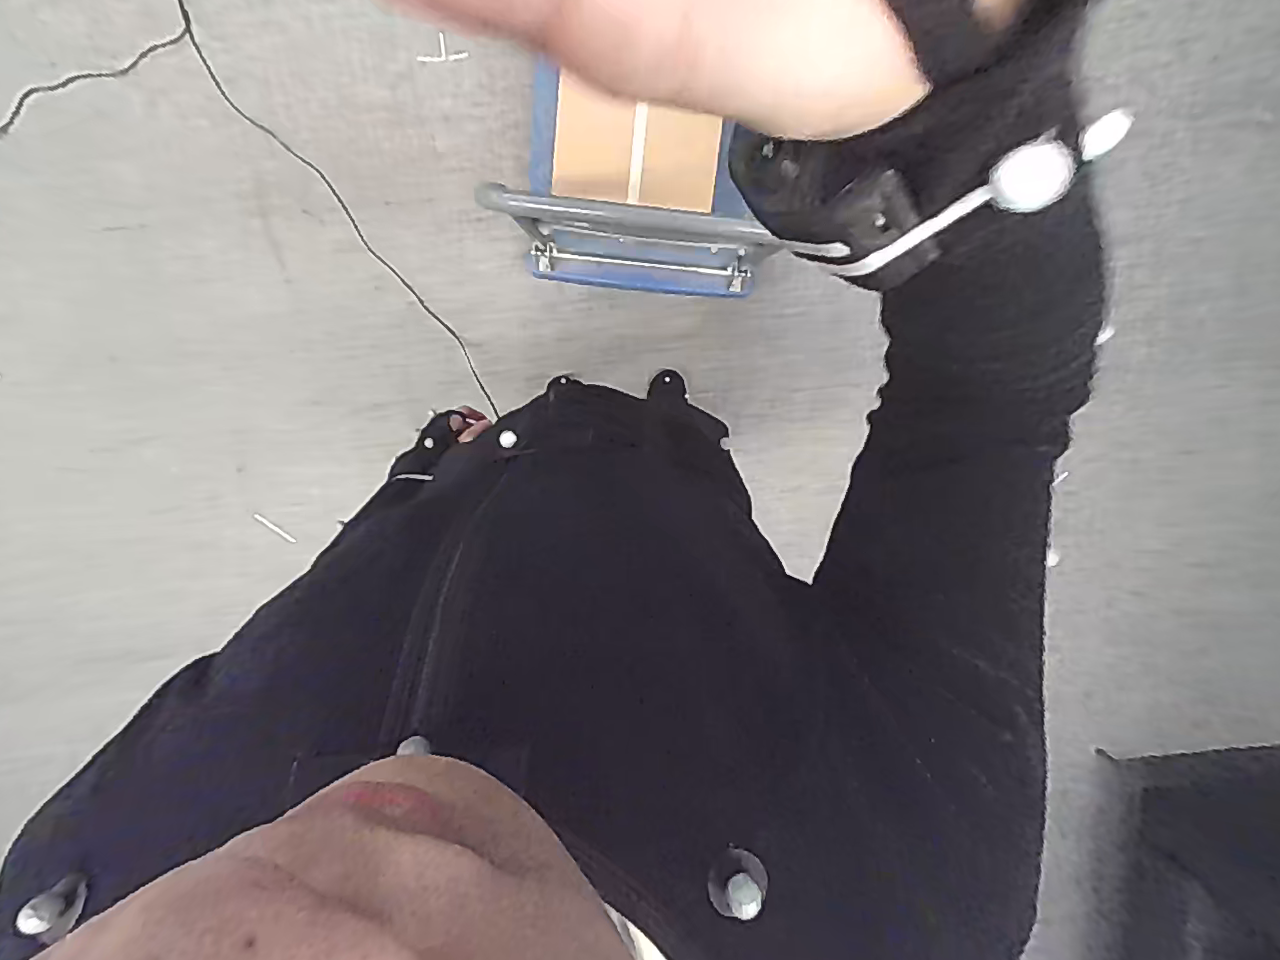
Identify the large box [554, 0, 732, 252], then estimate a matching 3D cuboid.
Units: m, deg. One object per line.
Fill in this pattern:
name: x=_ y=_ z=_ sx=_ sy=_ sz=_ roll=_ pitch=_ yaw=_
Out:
large box: x=0.001 y=-0.751 z=1.174 sx=0.320 sy=0.320 sz=0.408 roll=6 pitch=100 yaw=-3
